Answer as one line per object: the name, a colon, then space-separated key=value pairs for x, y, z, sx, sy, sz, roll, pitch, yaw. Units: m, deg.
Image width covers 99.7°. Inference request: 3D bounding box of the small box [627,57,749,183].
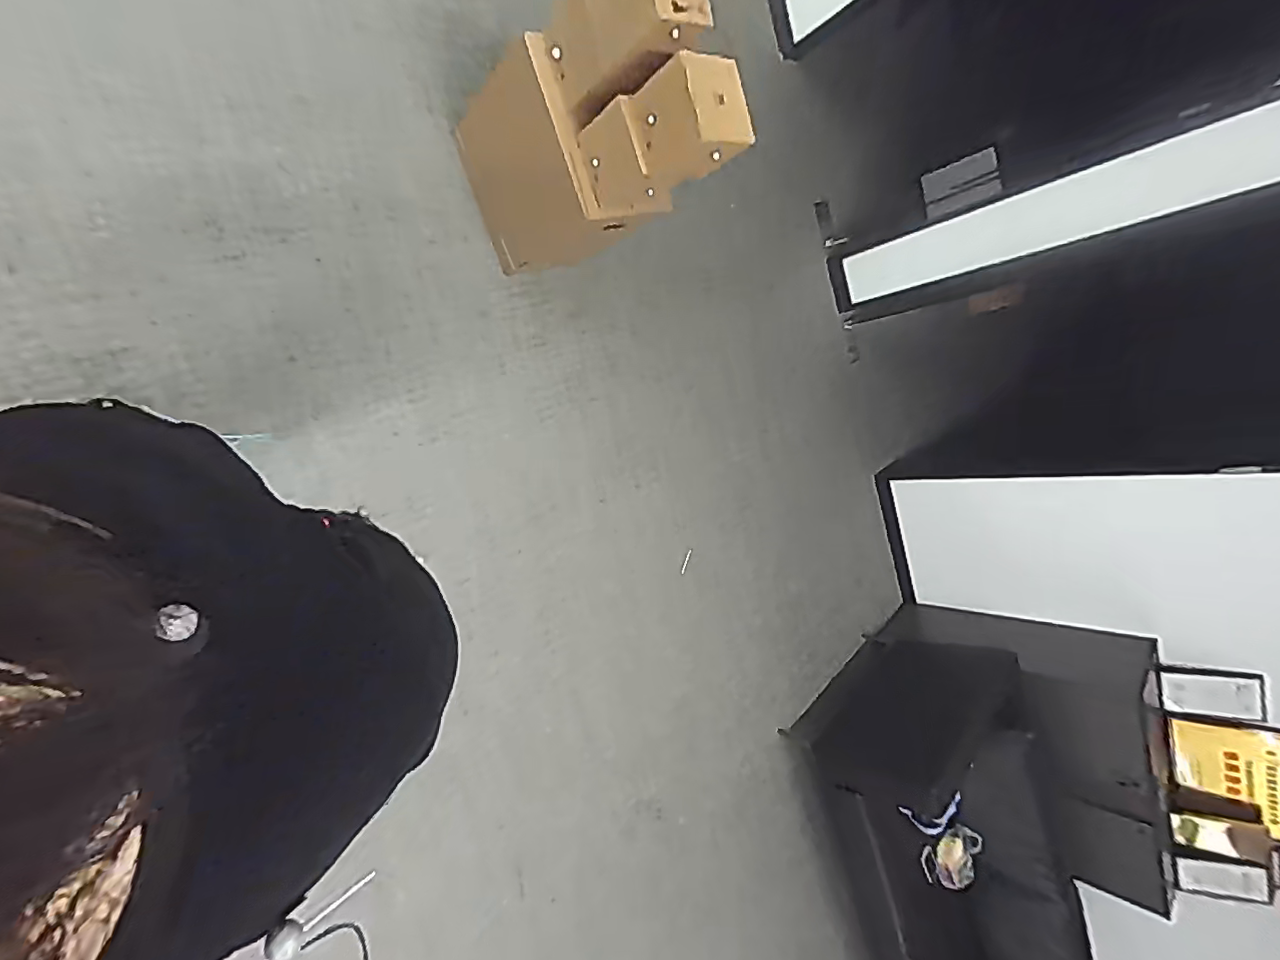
small box: x=0.103 y=-0.769 z=1.177 sx=0.179 sy=0.176 sz=0.168 roll=-25 pitch=103 yaw=-37
